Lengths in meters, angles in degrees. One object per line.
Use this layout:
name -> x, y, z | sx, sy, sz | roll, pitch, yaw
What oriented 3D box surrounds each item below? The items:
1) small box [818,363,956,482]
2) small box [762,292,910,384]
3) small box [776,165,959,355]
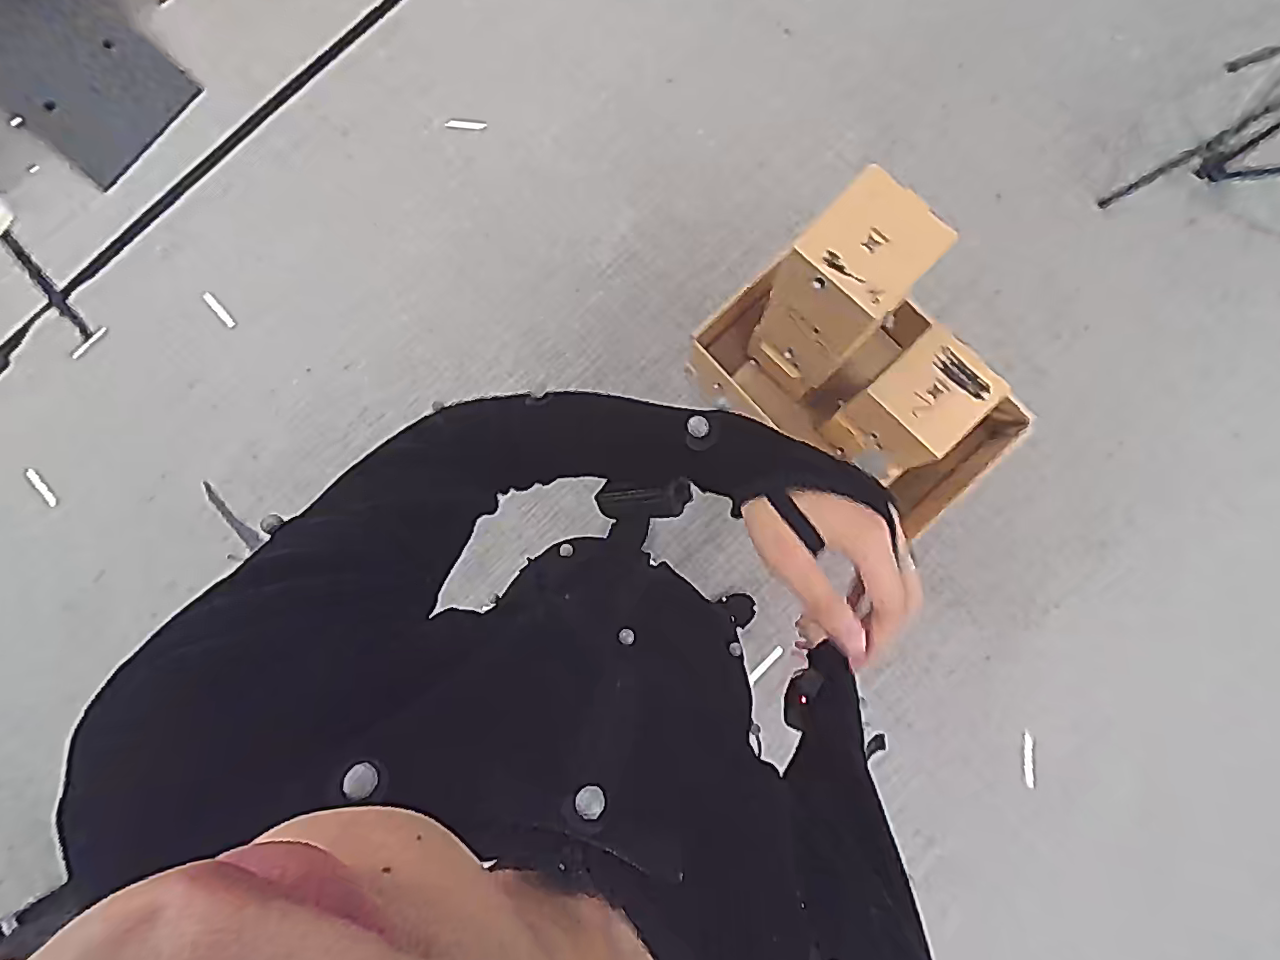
small box -> 0.510, -0.113, 1.147 | 0.179, 0.176, 0.168 | -40, 83, -1
small box -> 0.350, -0.309, 1.007 | 0.179, 0.176, 0.168 | -45, 84, -1
small box -> 0.338, -0.330, 0.844 | 0.179, 0.176, 0.168 | -45, 84, -3
